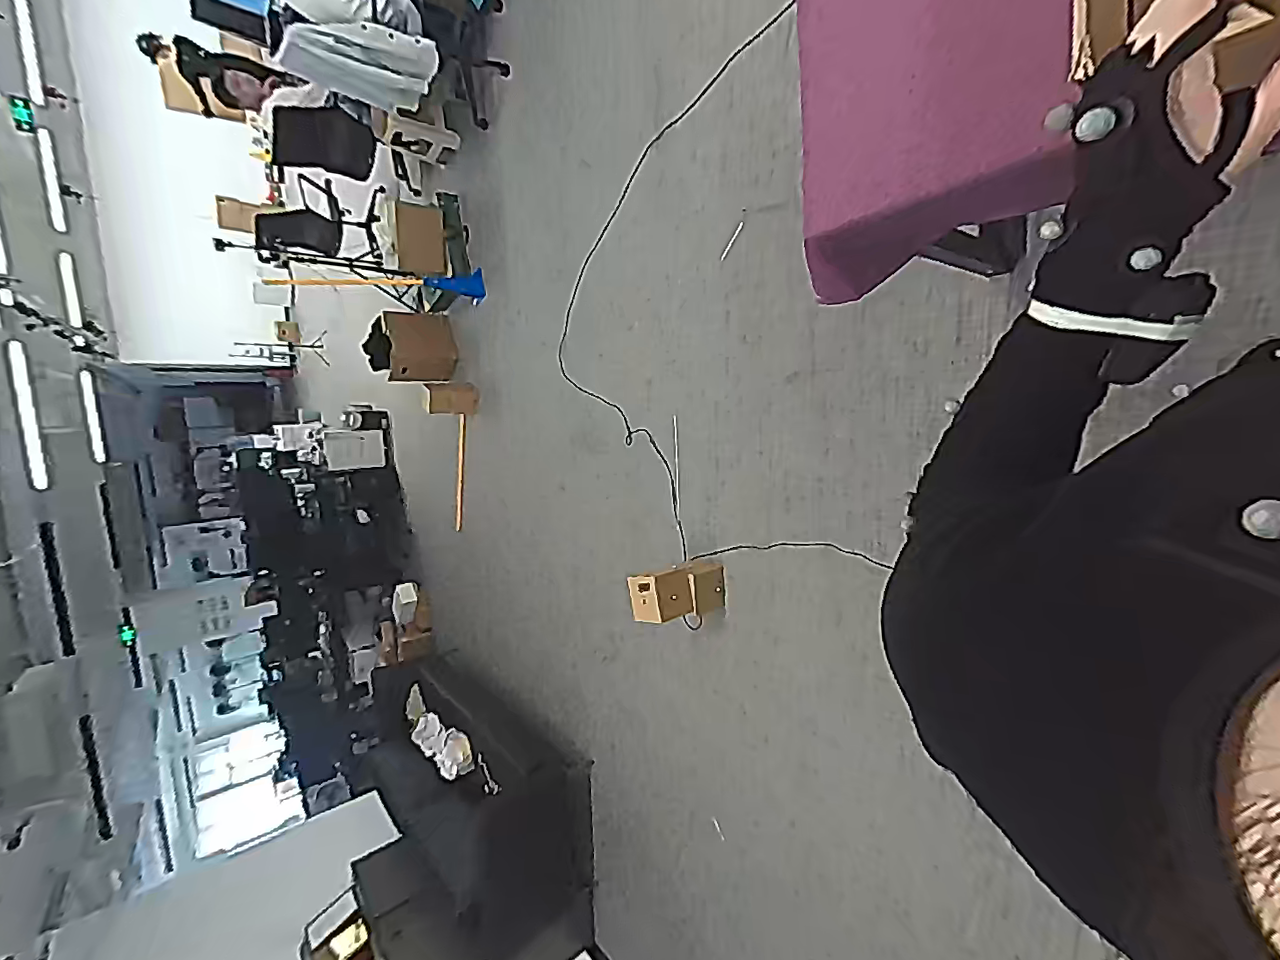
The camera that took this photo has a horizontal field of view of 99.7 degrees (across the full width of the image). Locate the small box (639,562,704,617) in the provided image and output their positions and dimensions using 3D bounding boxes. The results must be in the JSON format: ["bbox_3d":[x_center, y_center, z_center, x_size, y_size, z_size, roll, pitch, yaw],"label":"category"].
[{"bbox_3d":[0.123,0.417,2.096,0.168,0.176,0.179,-12,88,53],"label":"small box"}]
